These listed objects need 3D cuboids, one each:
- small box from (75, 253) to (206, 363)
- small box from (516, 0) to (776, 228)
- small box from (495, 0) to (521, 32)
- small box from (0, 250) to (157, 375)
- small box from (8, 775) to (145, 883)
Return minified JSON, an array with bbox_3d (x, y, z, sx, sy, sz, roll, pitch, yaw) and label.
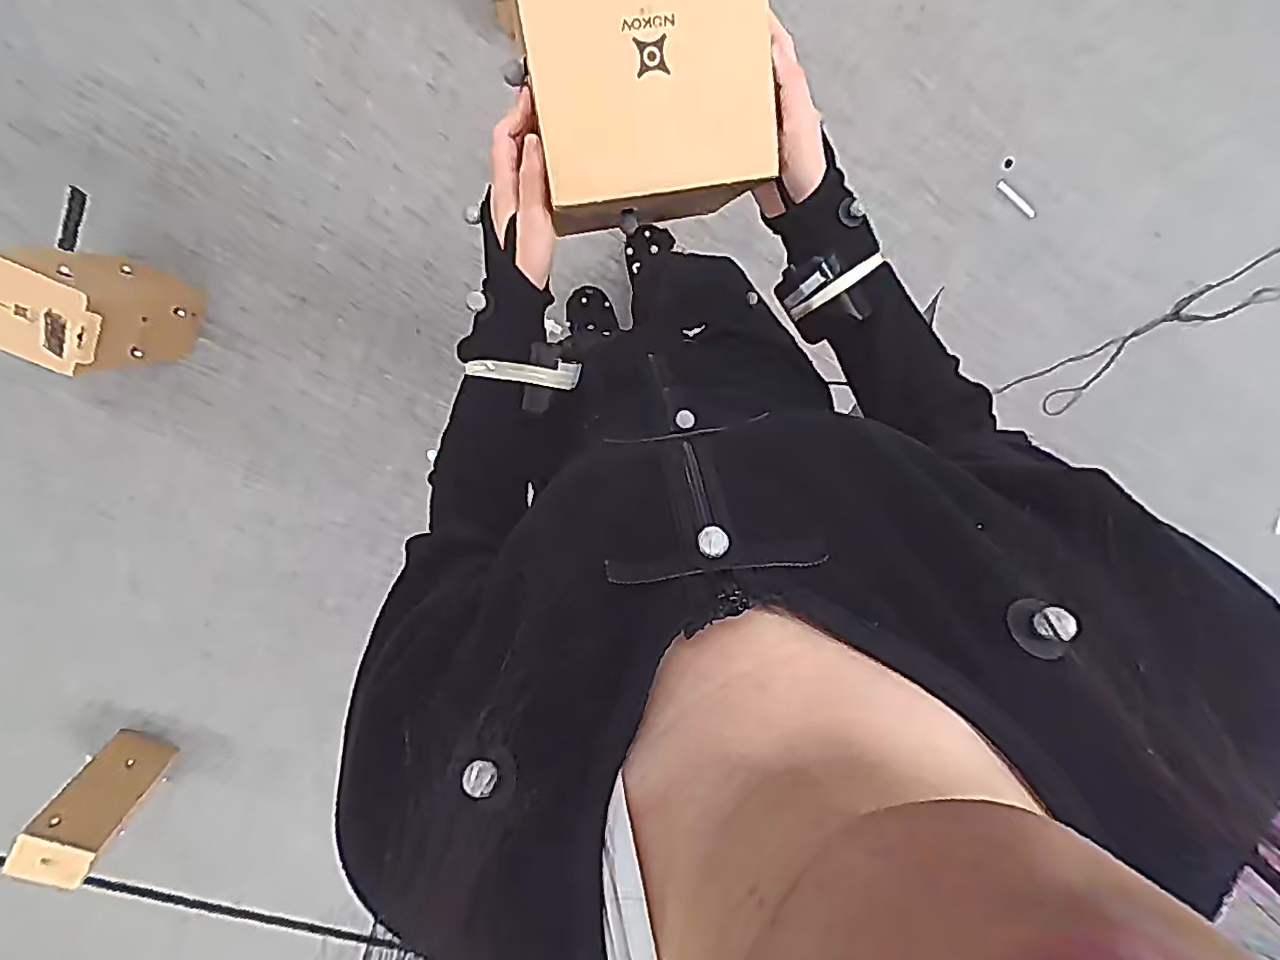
[{"bbox_3d":[-1.107,-0.381,1.186,0.179,0.176,0.168,24,106,-14],"label":"small box"},{"bbox_3d":[-0.002,-0.311,0.432,0.168,0.176,0.179,-11,107,-5],"label":"small box"},{"bbox_3d":[-0.218,-1.016,1.041,0.168,0.176,0.179,-16,113,-1],"label":"small box"},{"bbox_3d":[-1.085,-0.325,1.032,0.179,0.176,0.168,25,106,-15],"label":"small box"},{"bbox_3d":[-1.531,0.948,1.480,0.179,0.176,0.168,32,105,-18],"label":"small box"}]
